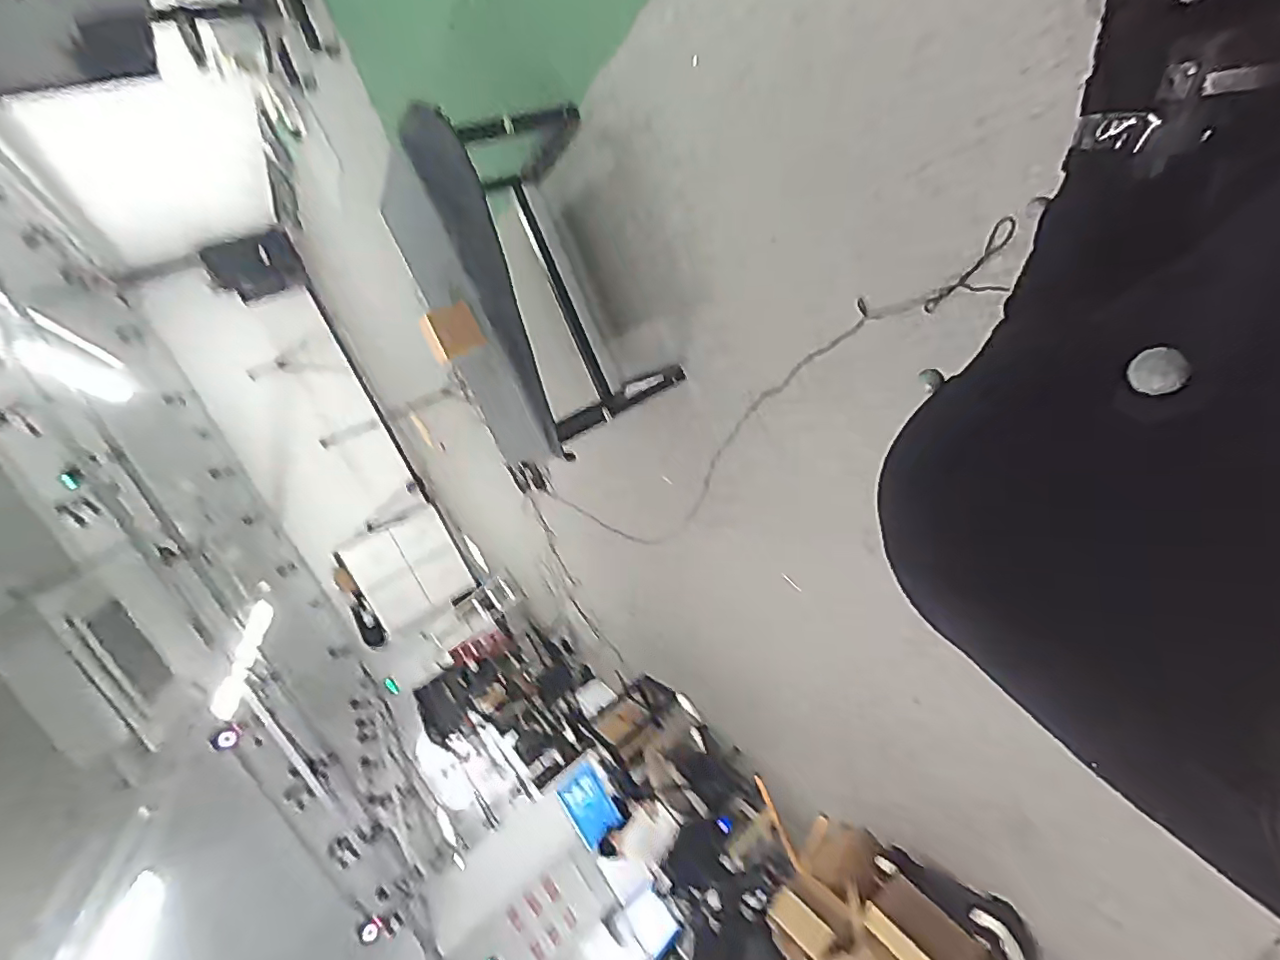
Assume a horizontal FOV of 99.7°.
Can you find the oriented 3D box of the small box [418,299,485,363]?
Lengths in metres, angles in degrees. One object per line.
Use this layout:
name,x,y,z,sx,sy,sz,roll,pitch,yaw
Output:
small box,-0.715,-0.567,2.063,0.168,0.176,0.179,3,119,58
